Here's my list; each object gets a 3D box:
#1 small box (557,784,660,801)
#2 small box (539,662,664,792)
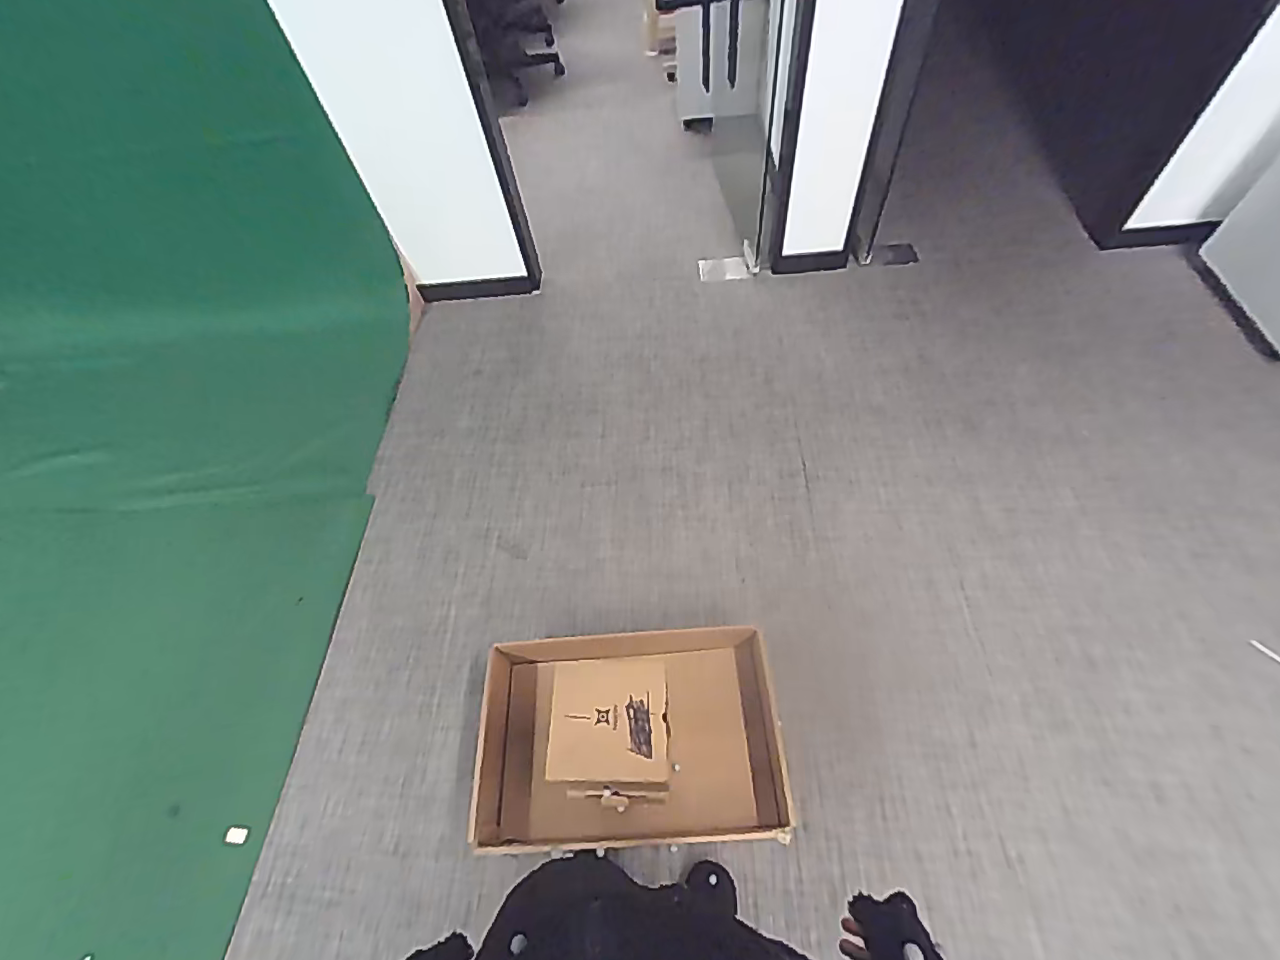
[{"bbox_3d":[-0.048,0.488,0.997,0.168,0.176,0.179,-1,57,4],"label":"small box"},{"bbox_3d":[-0.050,0.402,0.876,0.179,0.176,0.168,-1,55,5],"label":"small box"}]
